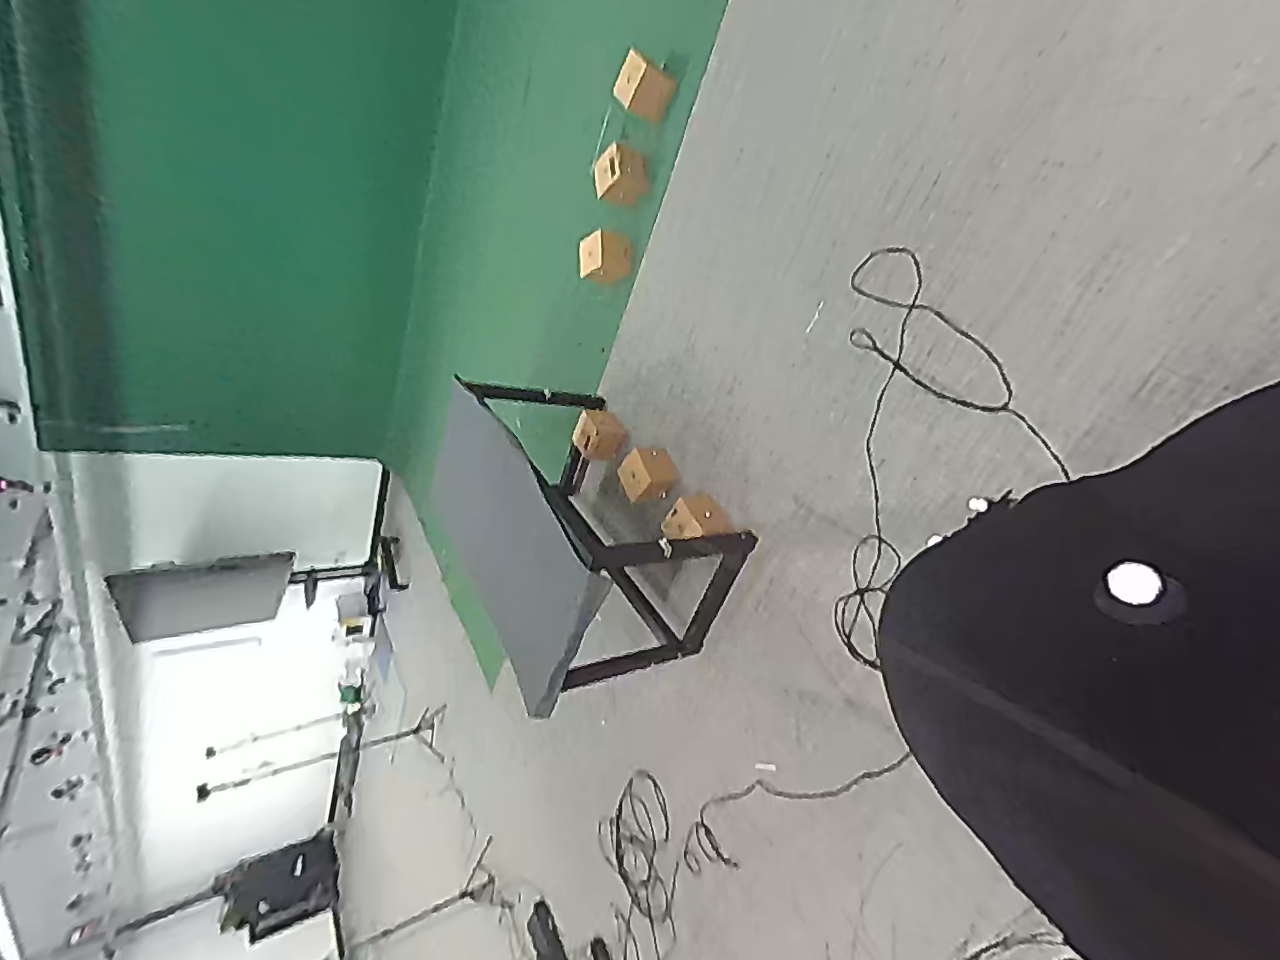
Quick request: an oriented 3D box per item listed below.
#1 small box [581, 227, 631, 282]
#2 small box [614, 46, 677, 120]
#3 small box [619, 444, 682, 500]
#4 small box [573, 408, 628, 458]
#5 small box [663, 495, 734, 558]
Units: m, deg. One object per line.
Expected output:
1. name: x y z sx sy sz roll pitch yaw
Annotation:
1. small box: -0.158 -1.040 2.510 0.179 0.176 0.168 -4 87 50
2. small box: 0.024 -1.663 2.276 0.179 0.176 0.168 -51 54 37
3. small box: 0.044 -0.031 2.267 0.168 0.176 0.179 -51 55 39
4. small box: -0.184 -0.220 2.545 0.179 0.176 0.168 52 128 38
5. small box: 0.224 0.169 2.048 0.179 0.176 0.168 57 130 33
